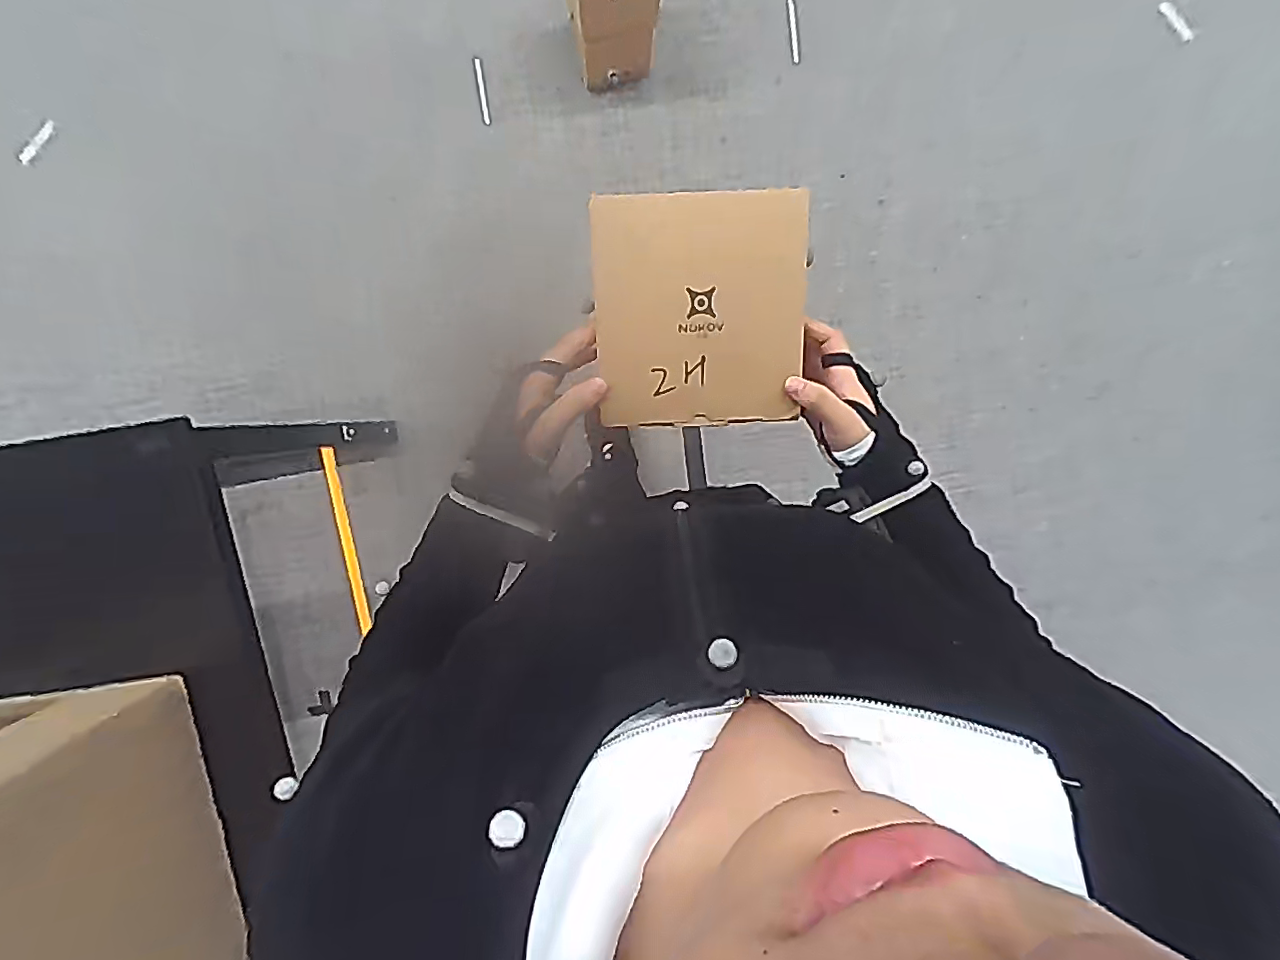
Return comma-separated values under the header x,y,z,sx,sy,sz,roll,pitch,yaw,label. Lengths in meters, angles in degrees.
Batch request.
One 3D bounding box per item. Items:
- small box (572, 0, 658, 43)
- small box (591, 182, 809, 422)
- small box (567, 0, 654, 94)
x,y,z,sx,sy,sz,roll,pitch,yaw,label
-0.061,-1.047,1.109,0.179,0.176,0.168,-14,97,-1,small box
0.044,-0.152,0.493,0.168,0.176,0.179,-2,105,0,small box
-0.073,-1.063,1.273,0.168,0.176,0.179,-16,98,0,small box
